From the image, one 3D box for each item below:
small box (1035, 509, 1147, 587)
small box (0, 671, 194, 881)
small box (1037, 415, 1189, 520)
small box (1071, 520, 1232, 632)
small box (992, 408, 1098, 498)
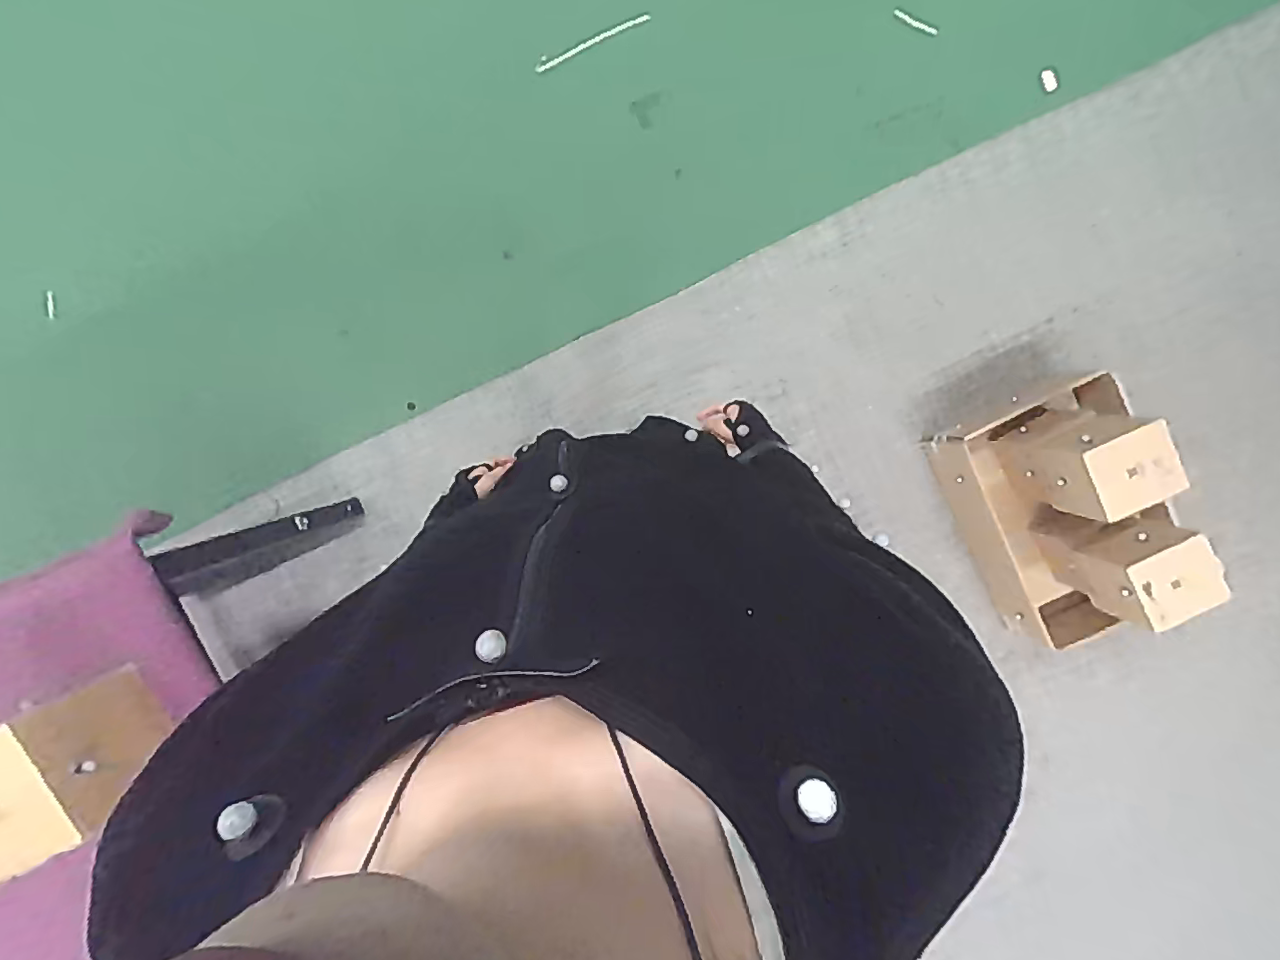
[{"bbox_3d":[1.164,0.170,1.379,0.168,0.176,0.179,-31,96,6],"label":"small box"},{"bbox_3d":[-0.783,0.389,0.740,0.168,0.176,0.179,-26,97,2],"label":"small box"},{"bbox_3d":[1.026,-0.033,1.195,0.179,0.176,0.168,-26,96,5],"label":"small box"},{"bbox_3d":[1.142,0.206,1.220,0.179,0.176,0.168,-28,94,4],"label":"small box"},{"bbox_3d":[1.033,-0.066,1.355,0.168,0.176,0.179,-30,97,5],"label":"small box"}]
